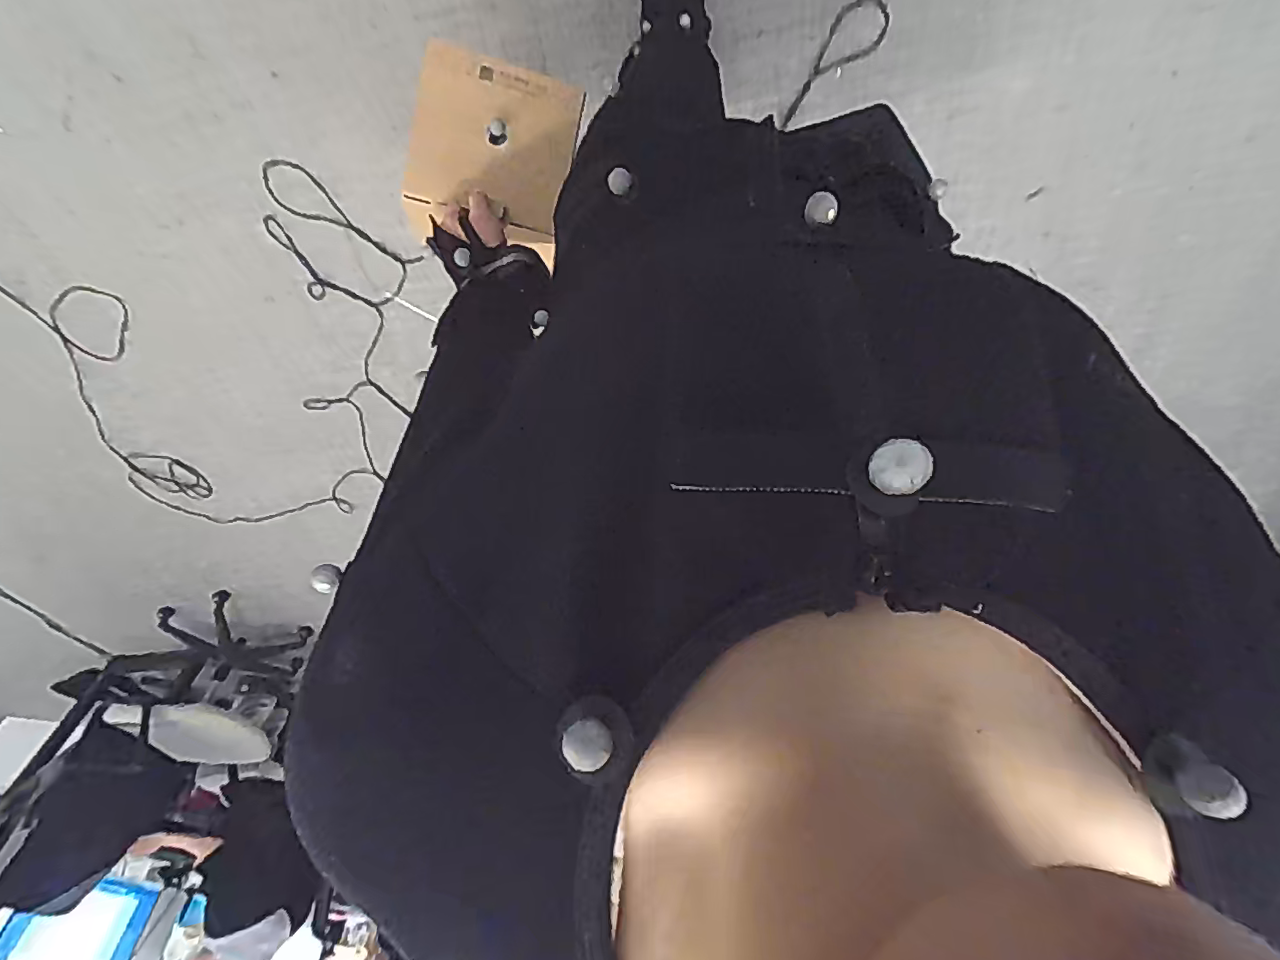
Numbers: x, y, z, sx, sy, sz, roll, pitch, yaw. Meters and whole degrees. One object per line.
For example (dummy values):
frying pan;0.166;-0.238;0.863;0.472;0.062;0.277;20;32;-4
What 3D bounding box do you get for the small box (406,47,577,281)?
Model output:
small box;-0.174;-0.366;0.656;0.168;0.179;0.176;9;91;-14
